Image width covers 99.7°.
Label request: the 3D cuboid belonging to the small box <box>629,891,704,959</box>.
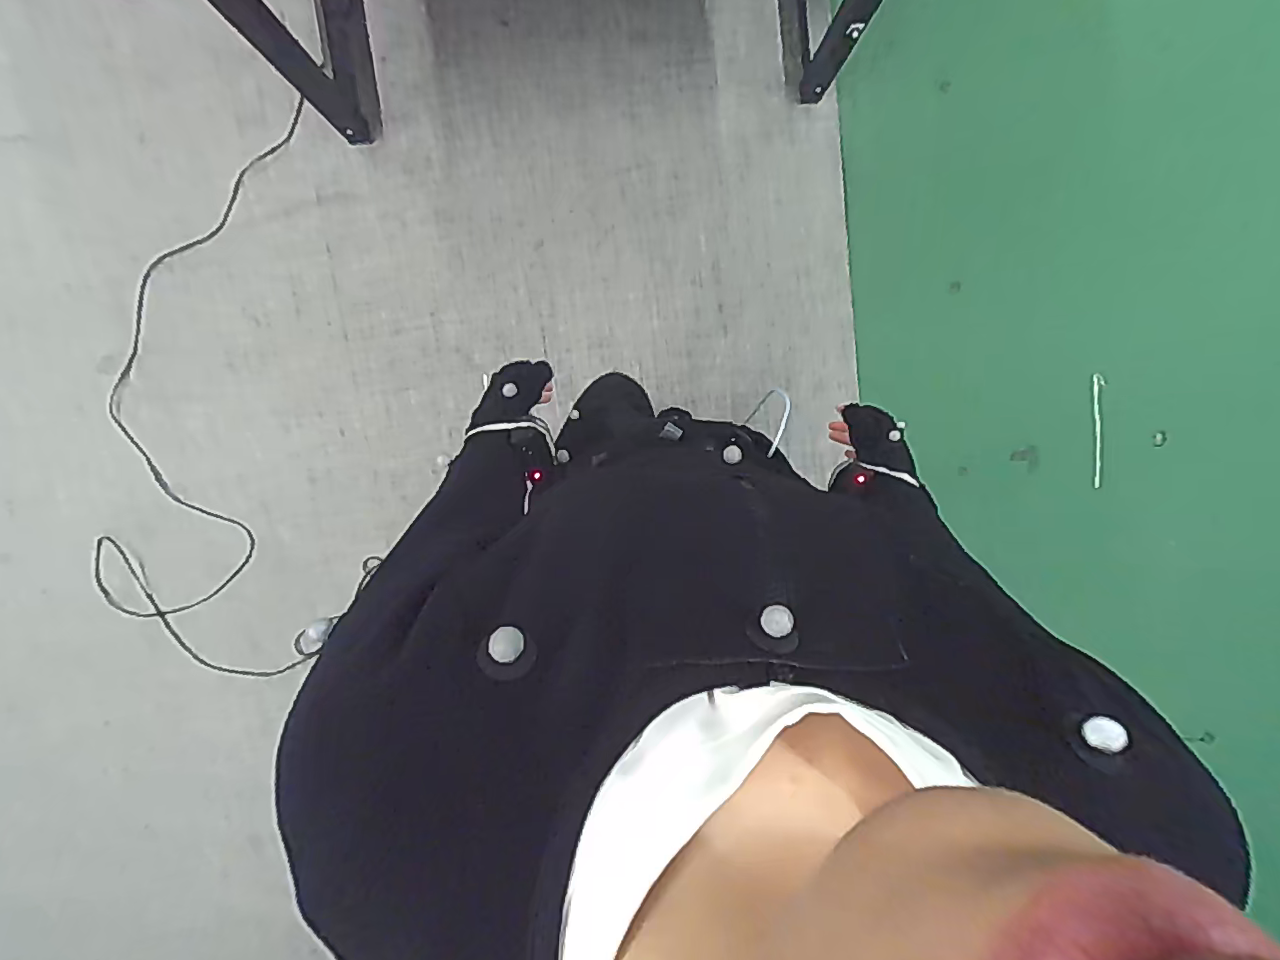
[{"bbox_3d":[0.068,1.155,1.314,0.168,0.176,0.179,-10,98,0],"label":"small box"}]

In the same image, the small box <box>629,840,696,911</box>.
[{"bbox_3d":[0.063,1.130,1.474,0.168,0.176,0.179,-9,98,-1],"label":"small box"}]
